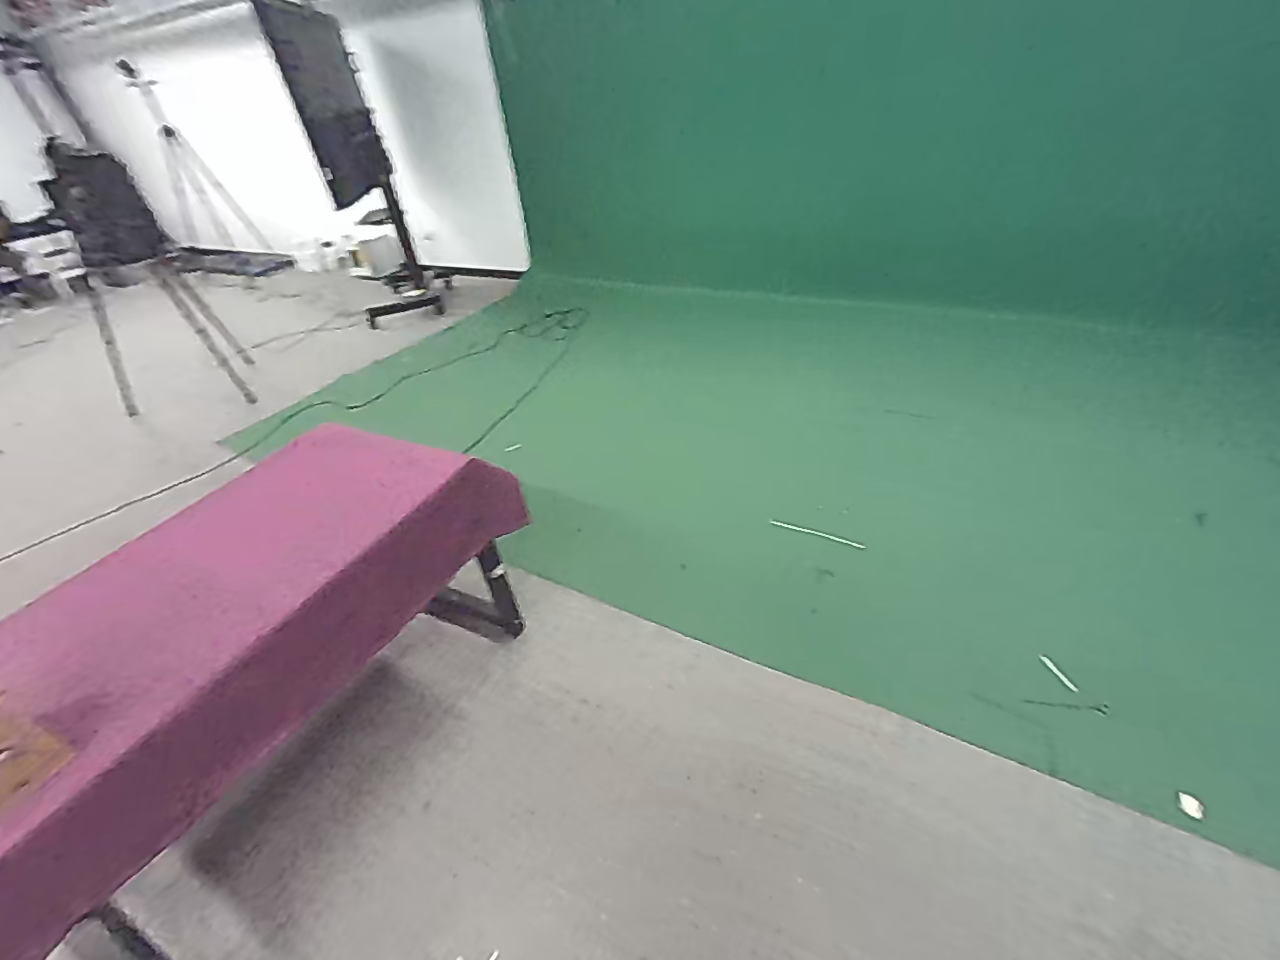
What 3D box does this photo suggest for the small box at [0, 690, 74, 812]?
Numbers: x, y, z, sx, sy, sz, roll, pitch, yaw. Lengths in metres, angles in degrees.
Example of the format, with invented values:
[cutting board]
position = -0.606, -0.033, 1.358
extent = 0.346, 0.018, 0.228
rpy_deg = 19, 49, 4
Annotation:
[small box]
position = -1.023, 0.407, 0.805
extent = 0.179, 0.176, 0.168
rpy_deg = 11, 39, 23
